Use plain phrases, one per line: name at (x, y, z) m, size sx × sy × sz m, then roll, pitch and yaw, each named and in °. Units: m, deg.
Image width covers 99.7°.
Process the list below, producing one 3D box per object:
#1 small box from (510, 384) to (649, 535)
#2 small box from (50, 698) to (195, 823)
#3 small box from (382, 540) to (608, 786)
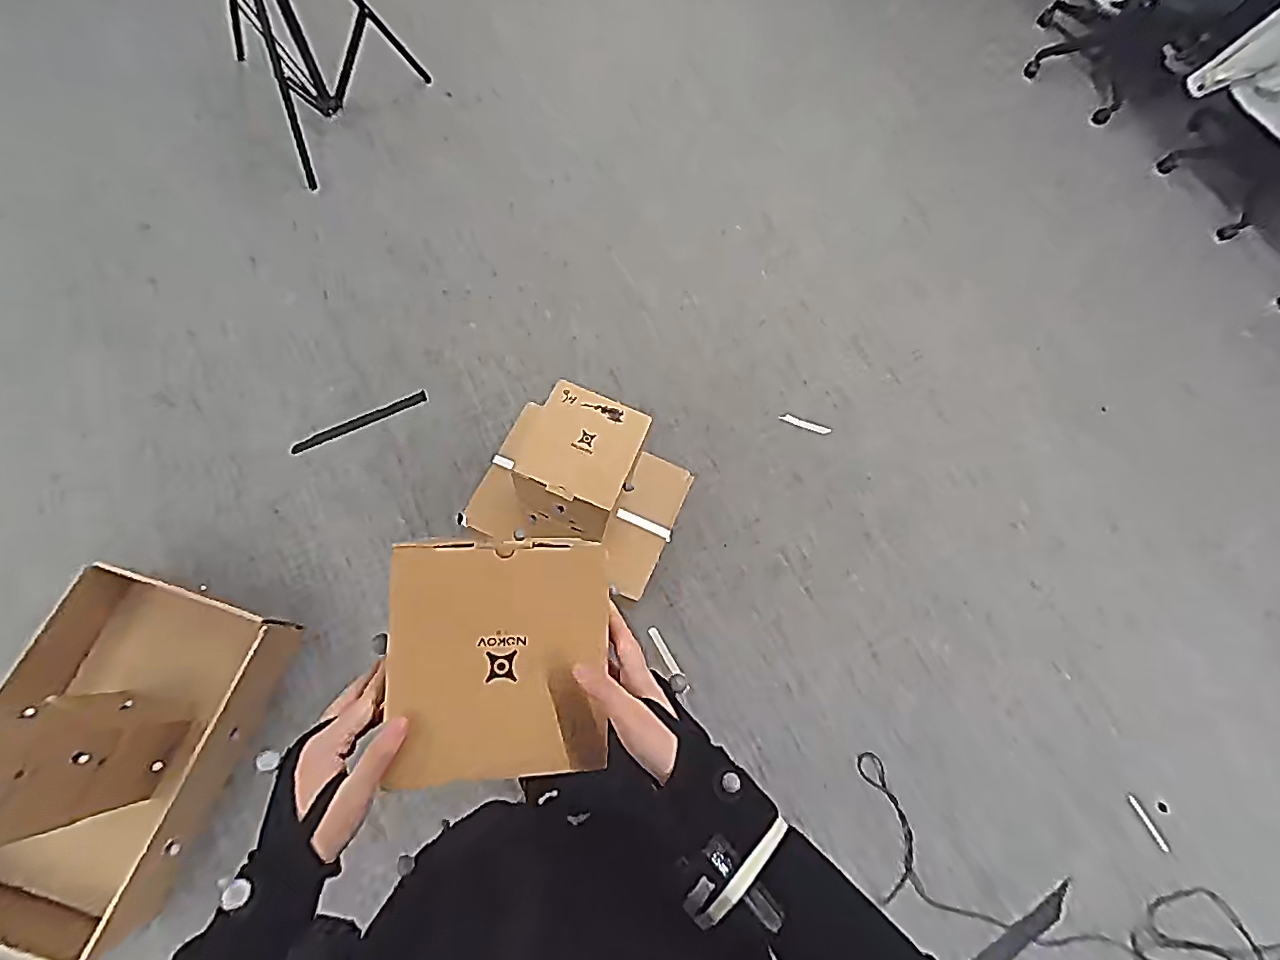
small box at (-0.098, -0.025, 0.911) m, size 0.168 × 0.176 × 0.179 m, roll 23°, pitch 71°, yaw 0°
small box at (-1.048, 0.538, 1.061) m, size 0.179 × 0.176 × 0.168 m, roll 19°, pitch 70°, yaw -1°
small box at (-0.125, 0.145, 0.493) m, size 0.168 × 0.176 × 0.179 m, roll 1°, pitch 84°, yaw -14°
